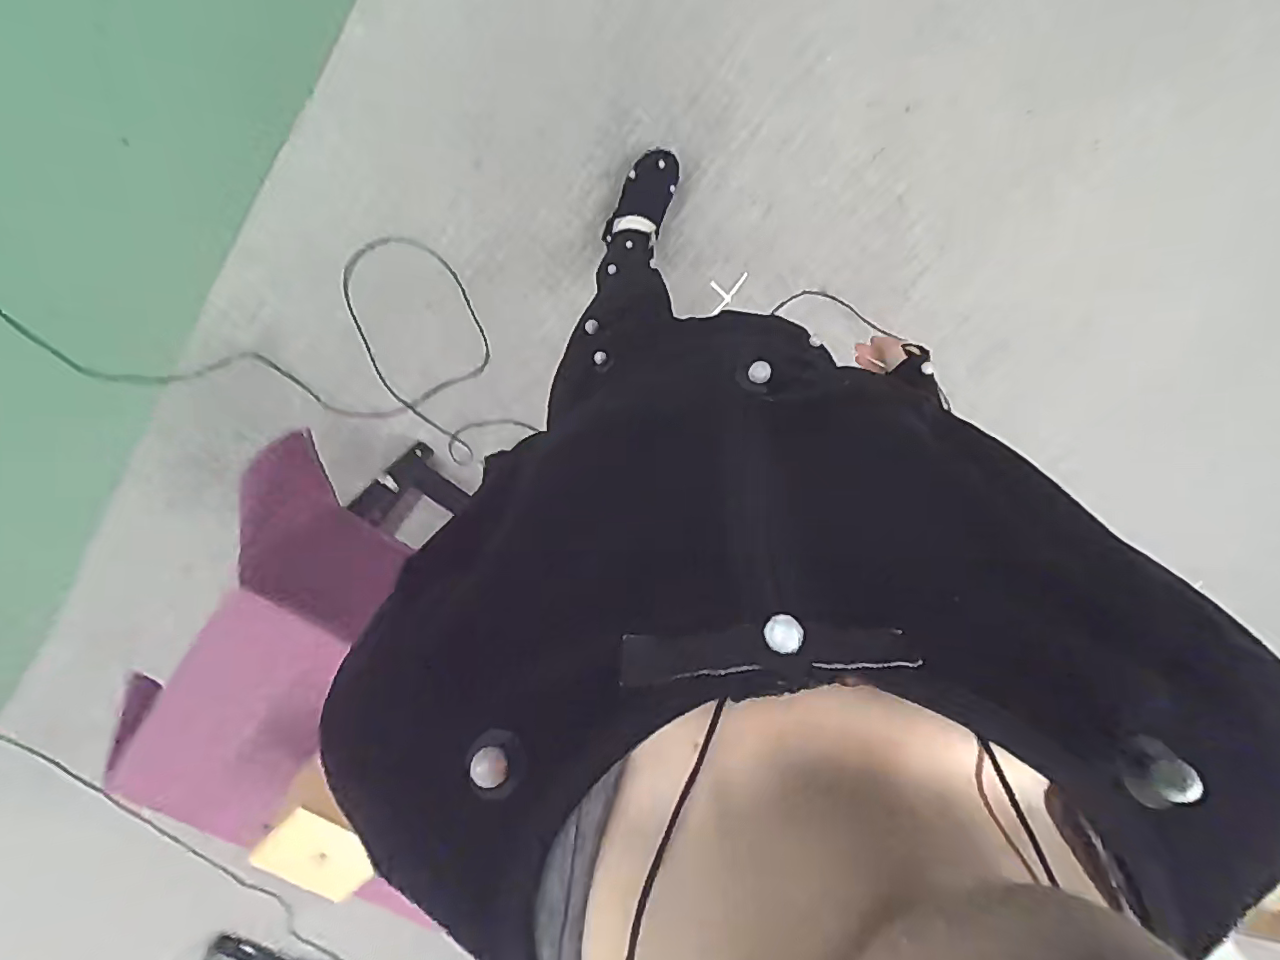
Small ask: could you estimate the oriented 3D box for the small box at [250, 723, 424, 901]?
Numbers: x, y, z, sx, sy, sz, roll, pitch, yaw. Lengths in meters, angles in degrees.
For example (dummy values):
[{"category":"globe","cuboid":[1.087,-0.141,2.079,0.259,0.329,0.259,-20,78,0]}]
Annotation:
[{"category":"small box","cuboid":[-0.492,0.550,0.909,0.168,0.176,0.179,40,108,-16]}]
